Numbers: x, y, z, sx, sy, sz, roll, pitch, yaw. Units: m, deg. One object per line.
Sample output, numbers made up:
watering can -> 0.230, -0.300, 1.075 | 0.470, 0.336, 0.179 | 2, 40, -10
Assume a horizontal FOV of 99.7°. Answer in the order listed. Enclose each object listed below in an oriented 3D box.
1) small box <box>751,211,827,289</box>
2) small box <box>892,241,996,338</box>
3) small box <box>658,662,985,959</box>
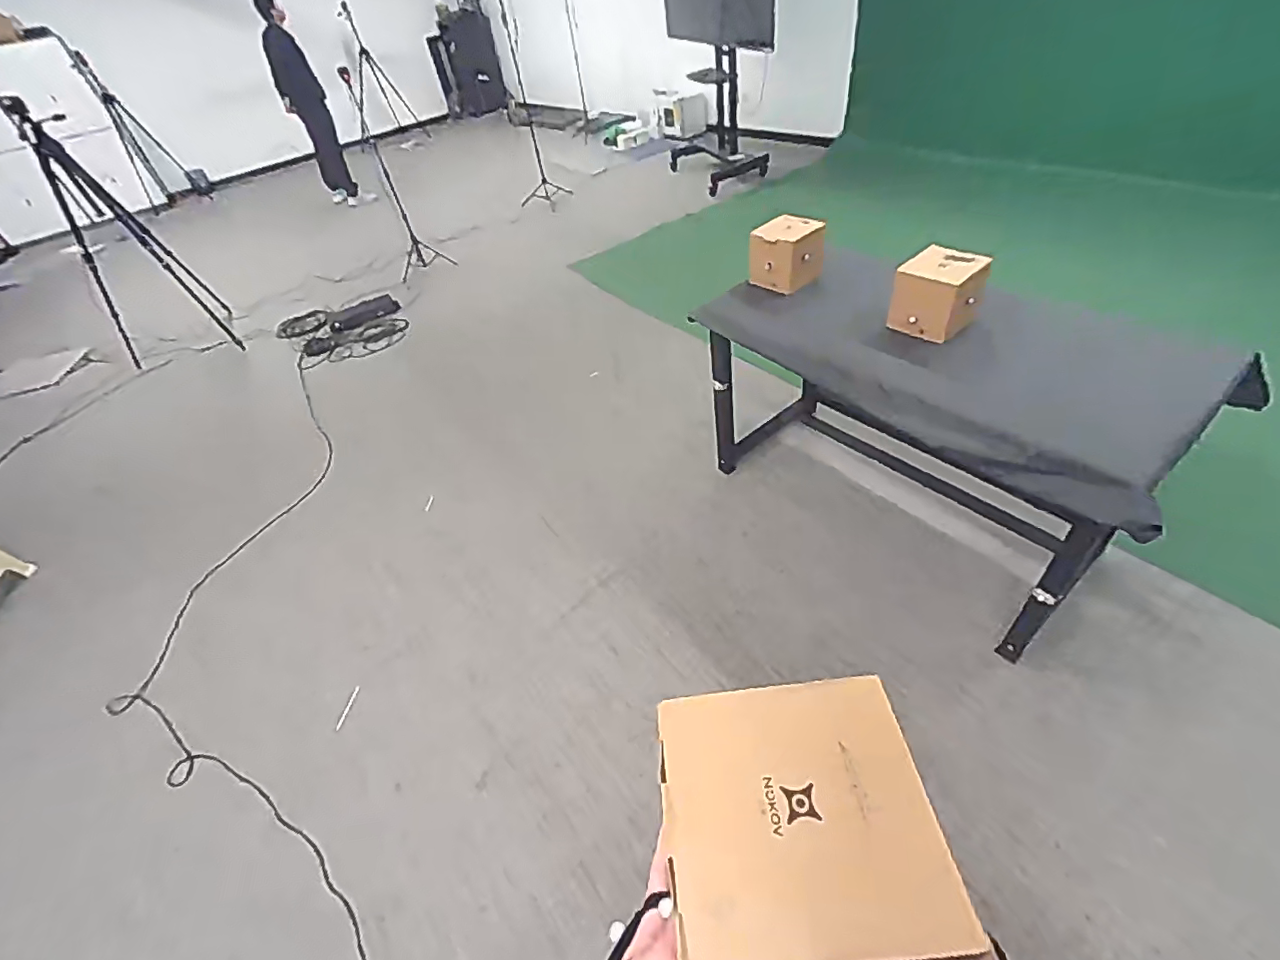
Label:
small box -> 0.480, -0.742, 1.746 | 0.179, 0.176, 0.168 | -37, 50, -23
small box -> 0.798, -0.507, 1.440 | 0.179, 0.176, 0.168 | -36, 49, -21
small box -> 0.114, 0.265, 0.417 | 0.179, 0.176, 0.168 | -7, 44, 1
